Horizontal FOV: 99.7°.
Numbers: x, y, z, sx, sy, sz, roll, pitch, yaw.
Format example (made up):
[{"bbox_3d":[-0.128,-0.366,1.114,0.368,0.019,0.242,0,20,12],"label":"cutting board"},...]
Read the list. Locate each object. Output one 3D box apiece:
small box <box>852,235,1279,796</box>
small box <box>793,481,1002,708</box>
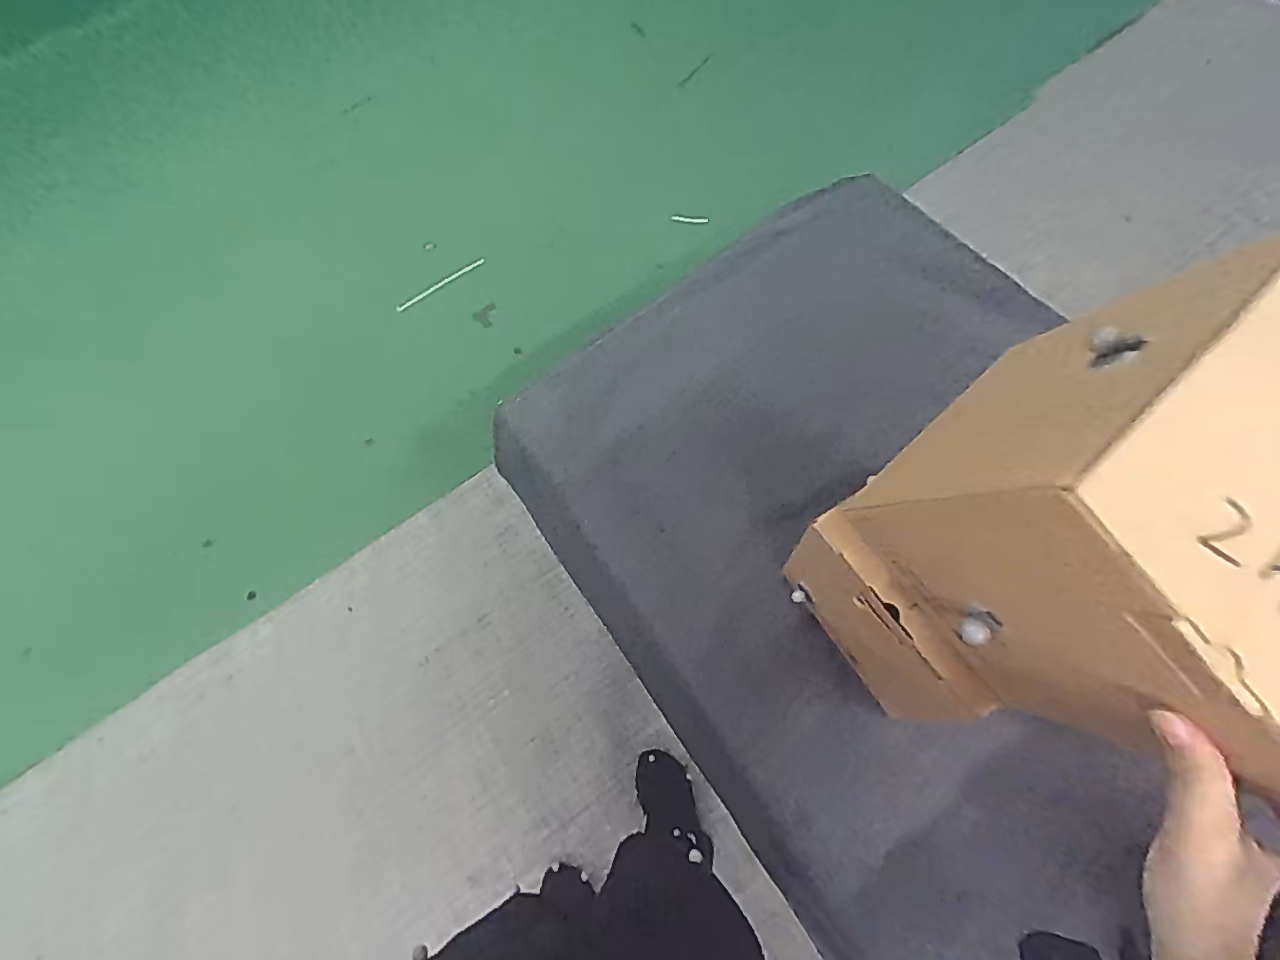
[{"bbox_3d":[0.253,0.014,0.284,0.179,0.176,0.168,-41,90,-9],"label":"small box"},{"bbox_3d":[0.251,0.078,0.466,0.179,0.176,0.168,-31,68,-8],"label":"small box"}]
